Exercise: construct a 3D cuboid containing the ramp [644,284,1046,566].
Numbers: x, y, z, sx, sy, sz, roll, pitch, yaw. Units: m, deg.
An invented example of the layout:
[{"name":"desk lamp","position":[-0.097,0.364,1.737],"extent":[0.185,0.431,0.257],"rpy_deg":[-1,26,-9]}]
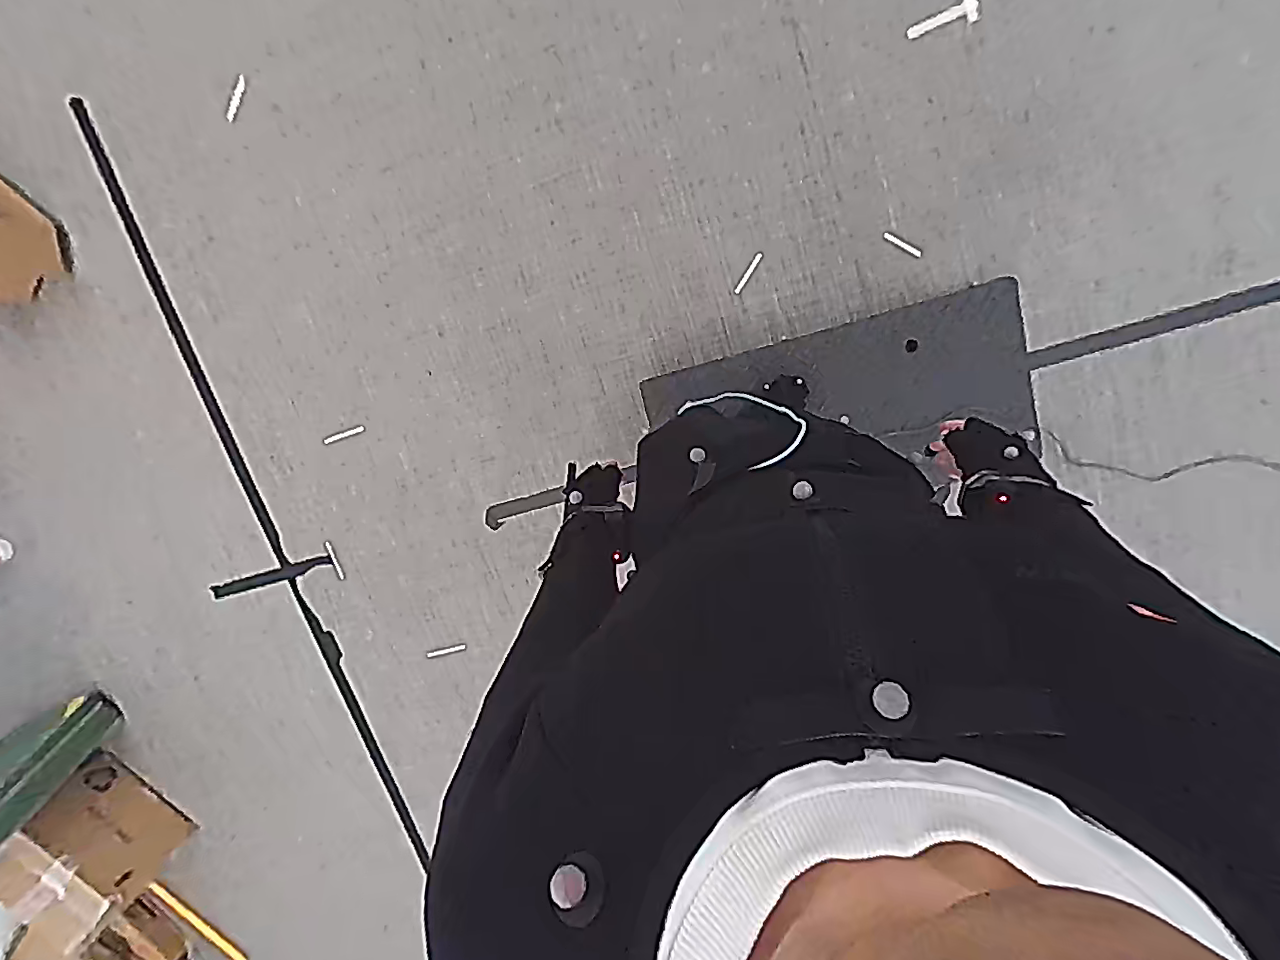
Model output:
[{"name":"ramp","position":[0.551,-0.141,1.442],"extent":[0.991,0.206,0.509],"rpy_deg":[-17,96,11]}]
